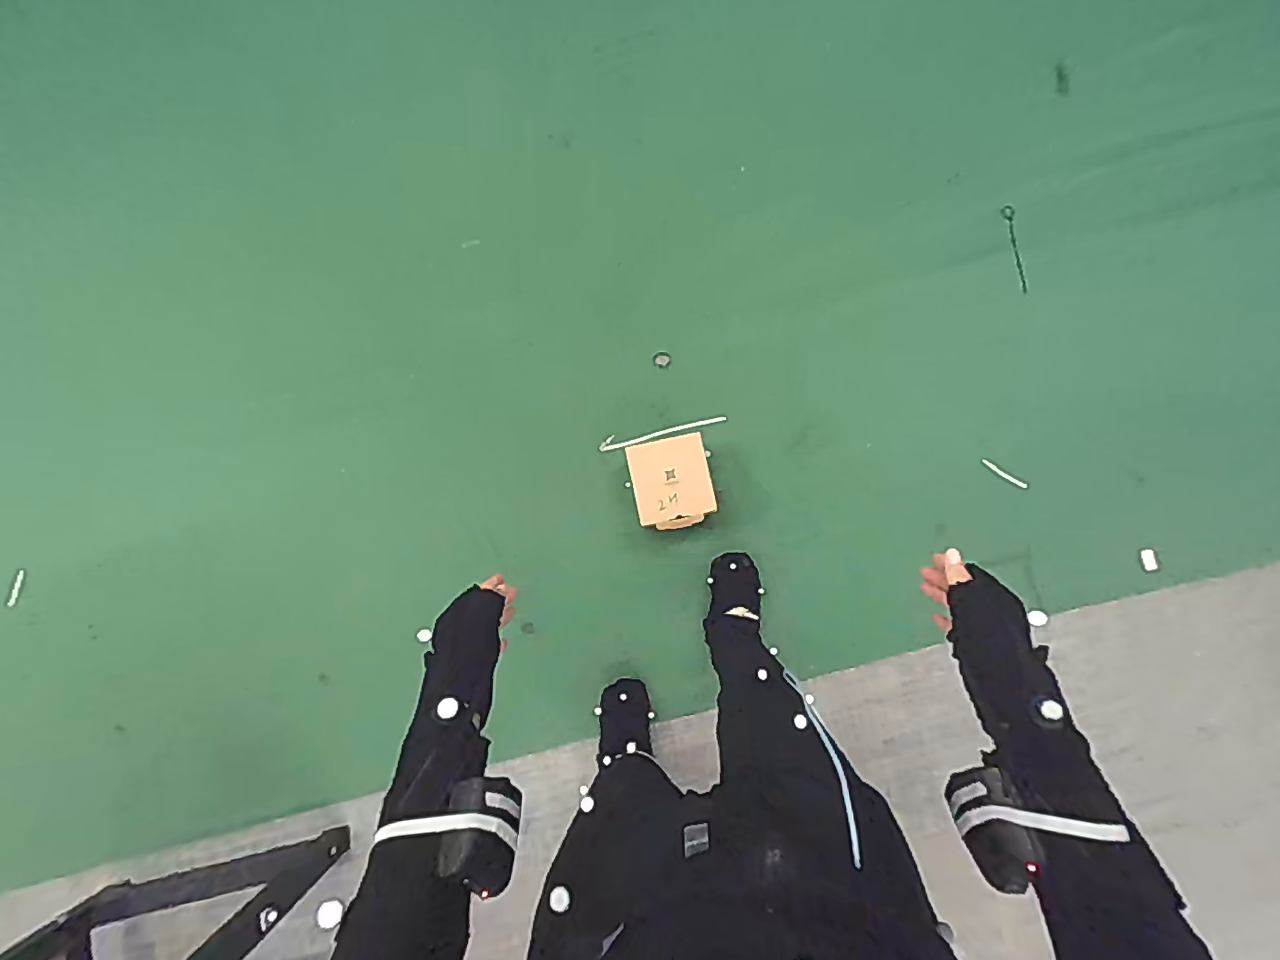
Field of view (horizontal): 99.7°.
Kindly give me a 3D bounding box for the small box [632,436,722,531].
[{"bbox_3d":[0.077,0.015,1.222,0.168,0.176,0.179,-12,84,1],"label":"small box"}]
